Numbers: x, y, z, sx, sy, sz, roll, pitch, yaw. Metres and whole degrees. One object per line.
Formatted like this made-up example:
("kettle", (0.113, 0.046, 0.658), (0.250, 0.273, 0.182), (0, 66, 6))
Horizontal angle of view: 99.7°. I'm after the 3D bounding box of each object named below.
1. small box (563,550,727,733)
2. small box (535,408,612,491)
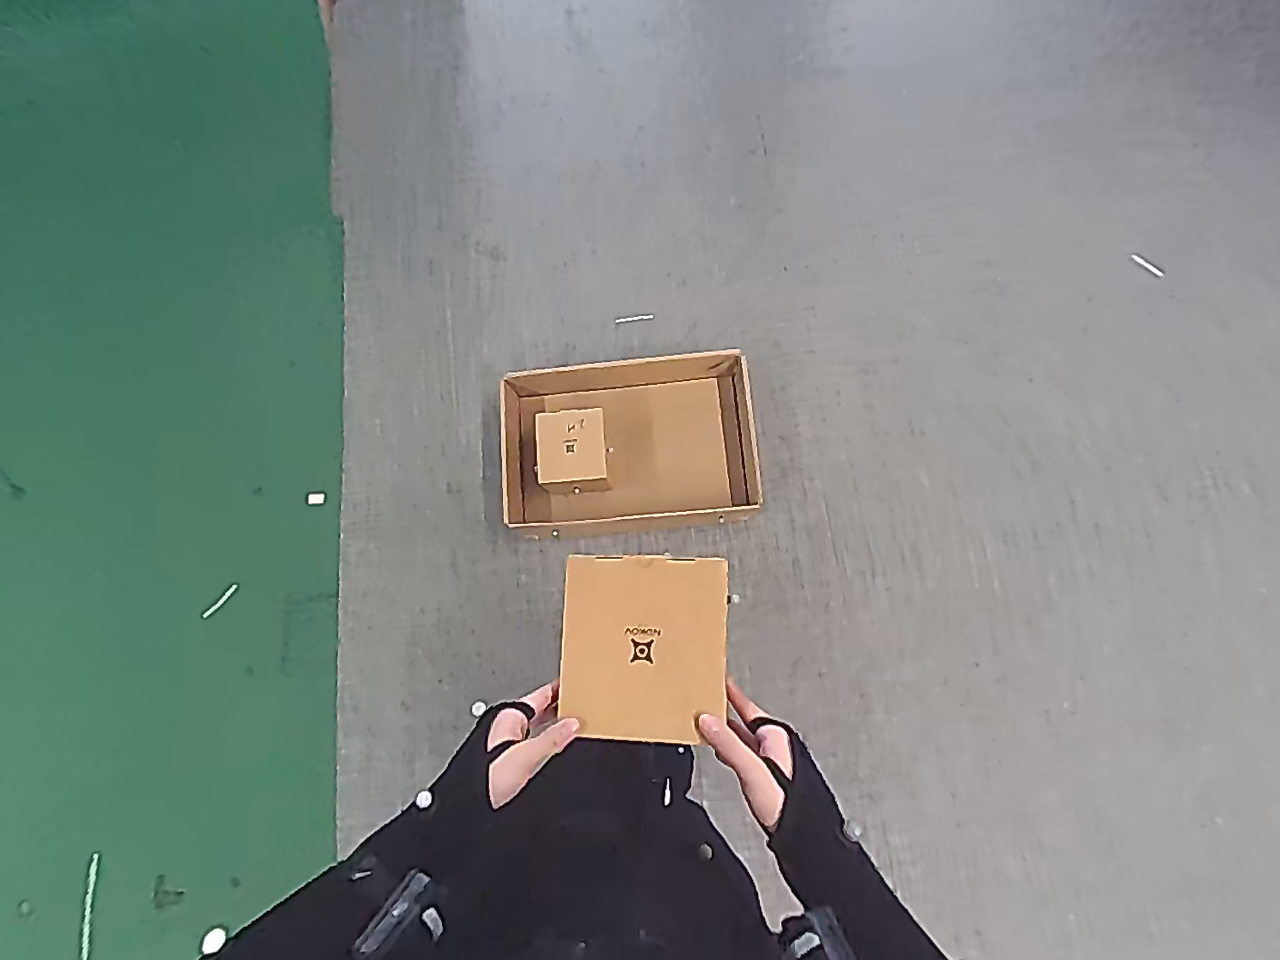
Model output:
("small box", (0.016, 0.175, 0.625), (0.168, 0.176, 0.179), (0, 78, 7))
("small box", (-0.164, -0.069, 1.368), (0.168, 0.176, 0.179), (-4, 79, 2))
